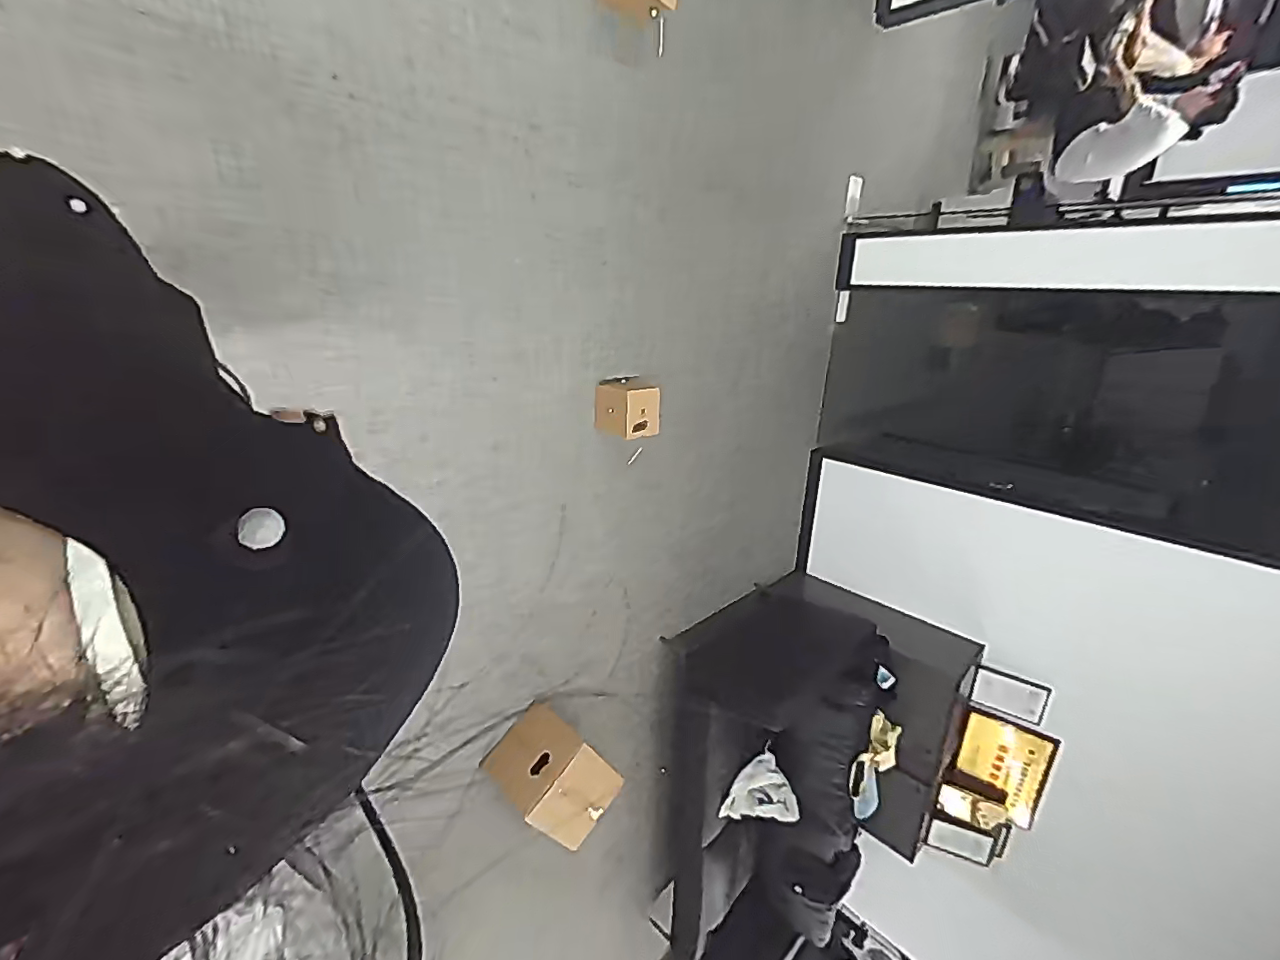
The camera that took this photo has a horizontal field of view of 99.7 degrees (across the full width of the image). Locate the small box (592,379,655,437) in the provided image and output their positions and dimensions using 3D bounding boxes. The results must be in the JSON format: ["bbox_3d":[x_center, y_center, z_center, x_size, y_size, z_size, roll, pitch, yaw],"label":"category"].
[{"bbox_3d":[-0.064,-0.268,1.990,0.168,0.176,0.179,-15,116,-43],"label":"small box"}]

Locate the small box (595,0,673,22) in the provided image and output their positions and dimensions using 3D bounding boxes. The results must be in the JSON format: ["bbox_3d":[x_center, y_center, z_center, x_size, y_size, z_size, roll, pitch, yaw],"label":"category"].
[{"bbox_3d":[-0.016,-1.459,1.550,0.179,0.176,0.168,-9,112,-44],"label":"small box"}]
